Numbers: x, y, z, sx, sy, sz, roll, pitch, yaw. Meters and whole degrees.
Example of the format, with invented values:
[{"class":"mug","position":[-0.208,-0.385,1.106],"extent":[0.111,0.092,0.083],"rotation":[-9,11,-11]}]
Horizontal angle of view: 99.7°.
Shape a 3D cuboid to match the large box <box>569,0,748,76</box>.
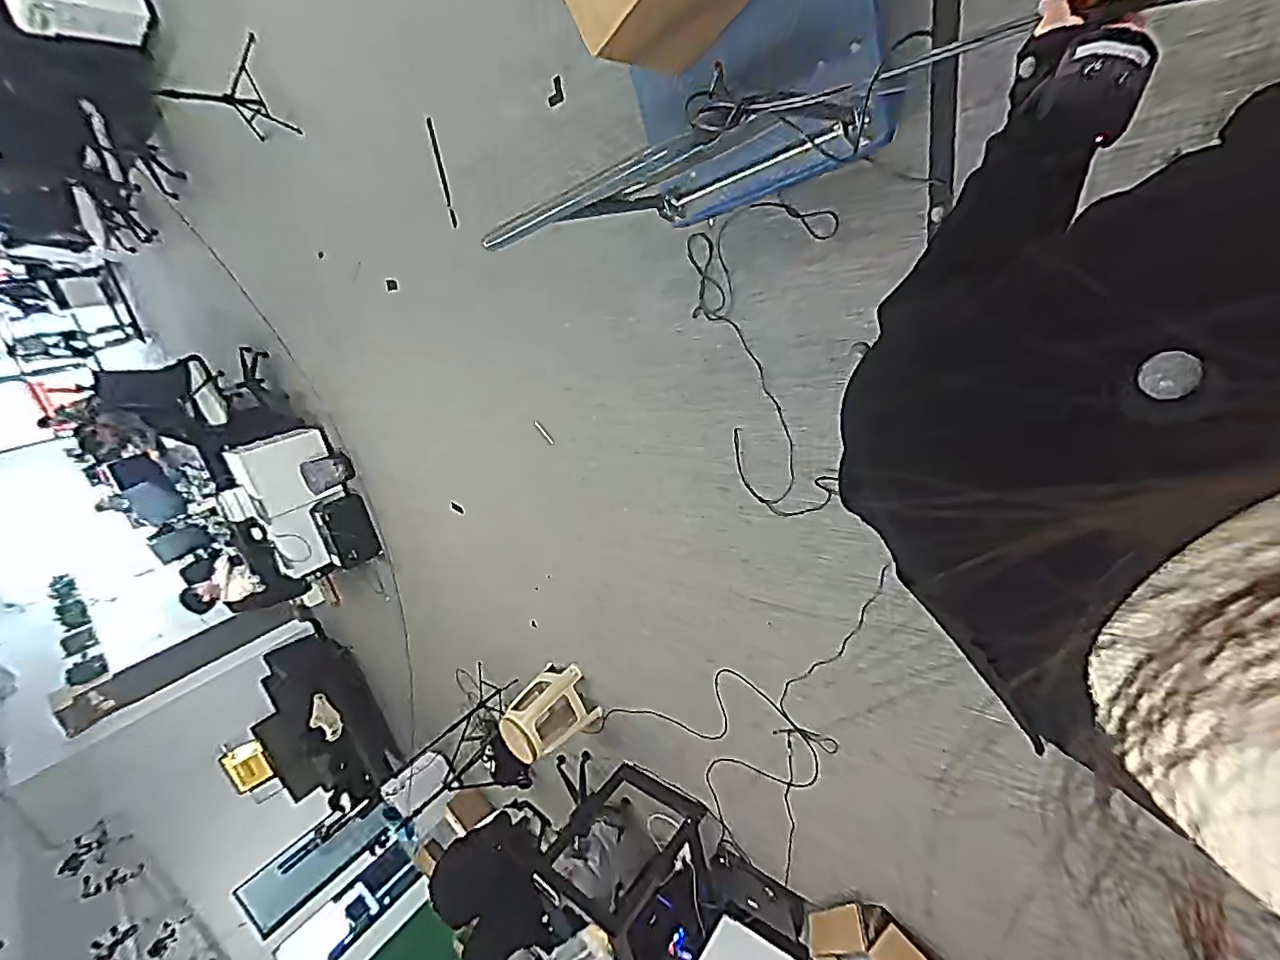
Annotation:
[{"class":"large box","position":[0.065,-1.092,1.037],"extent":[0.408,0.320,0.320],"rotation":[-19,99,45]}]
